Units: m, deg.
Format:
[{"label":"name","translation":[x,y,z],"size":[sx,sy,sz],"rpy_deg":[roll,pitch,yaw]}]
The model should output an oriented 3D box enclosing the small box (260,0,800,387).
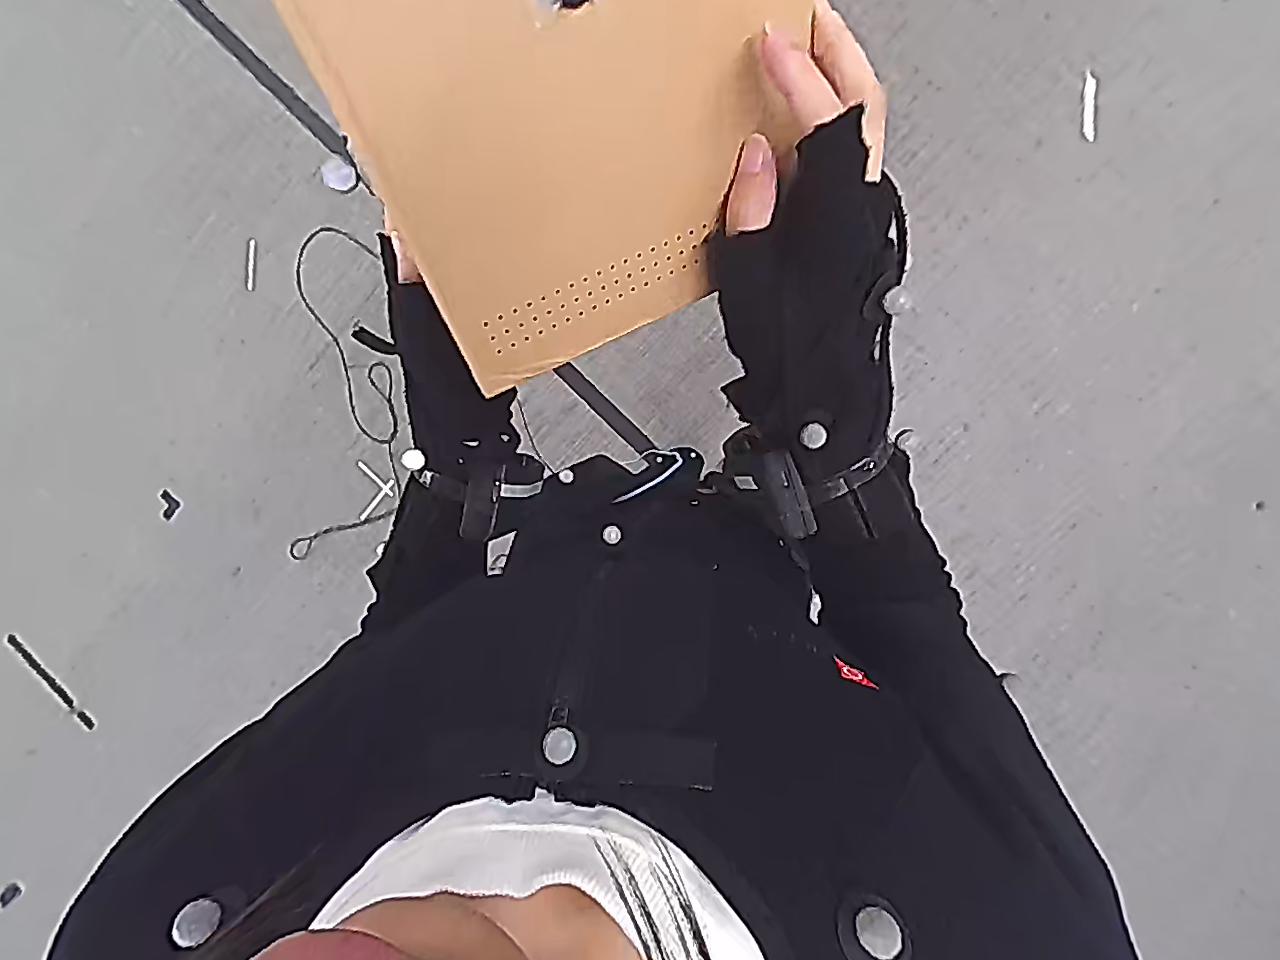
[{"label":"small box","translation":[-0.042,-0.172,0.255],"size":[0.179,0.168,0.176],"rpy_deg":[-27,135,-8]}]
